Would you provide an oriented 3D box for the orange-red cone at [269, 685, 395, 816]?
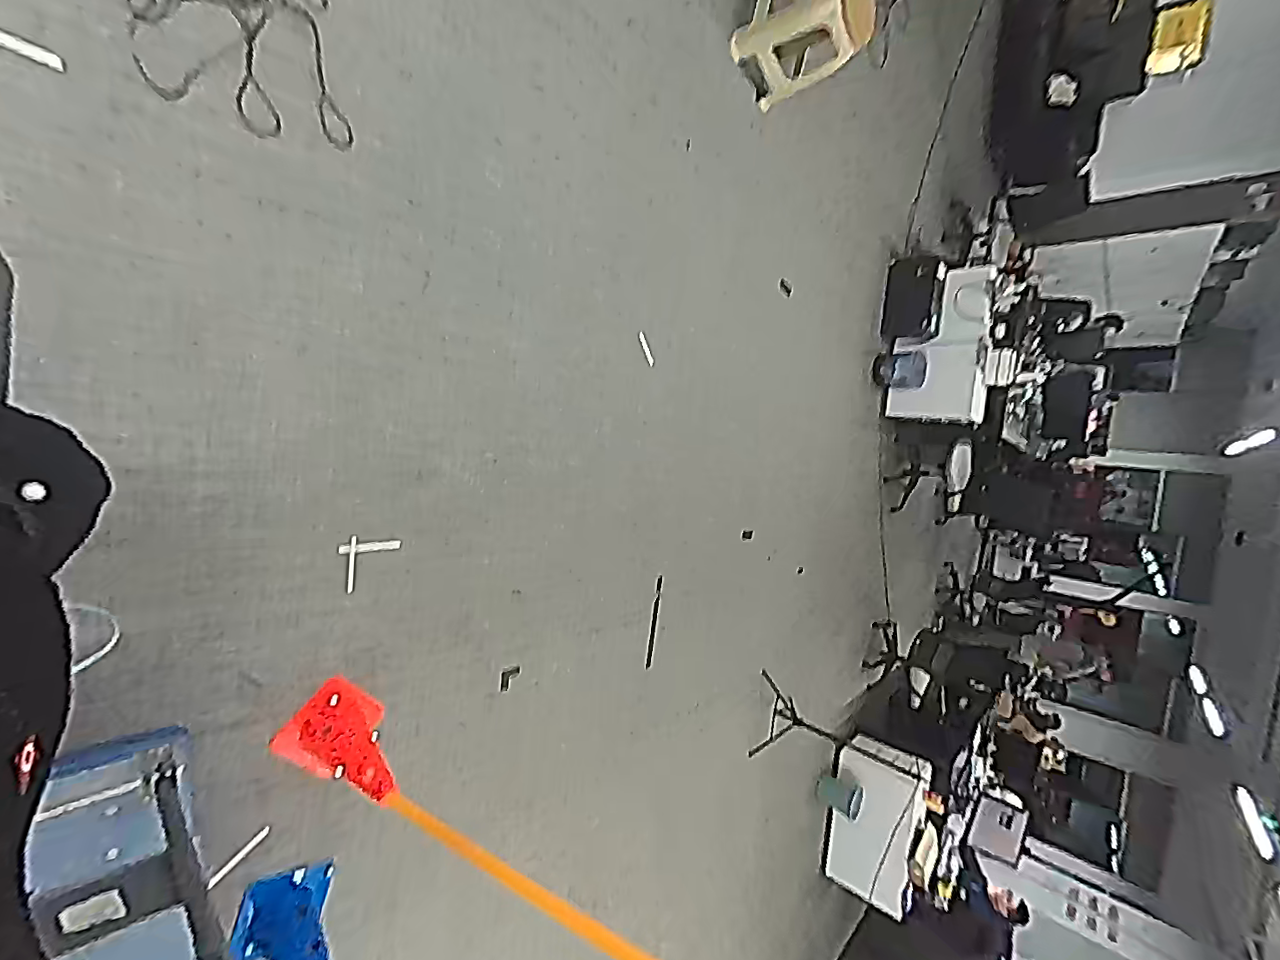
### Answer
[{"bbox_3d":[-0.647,0.652,1.225,0.199,0.360,0.198,-50,129,-29],"label":"orange-red cone"}]

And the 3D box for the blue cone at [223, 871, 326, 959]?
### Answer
[{"bbox_3d":[-0.757,1.081,1.196,0.193,0.380,0.192,25,77,-47],"label":"blue cone"}]
